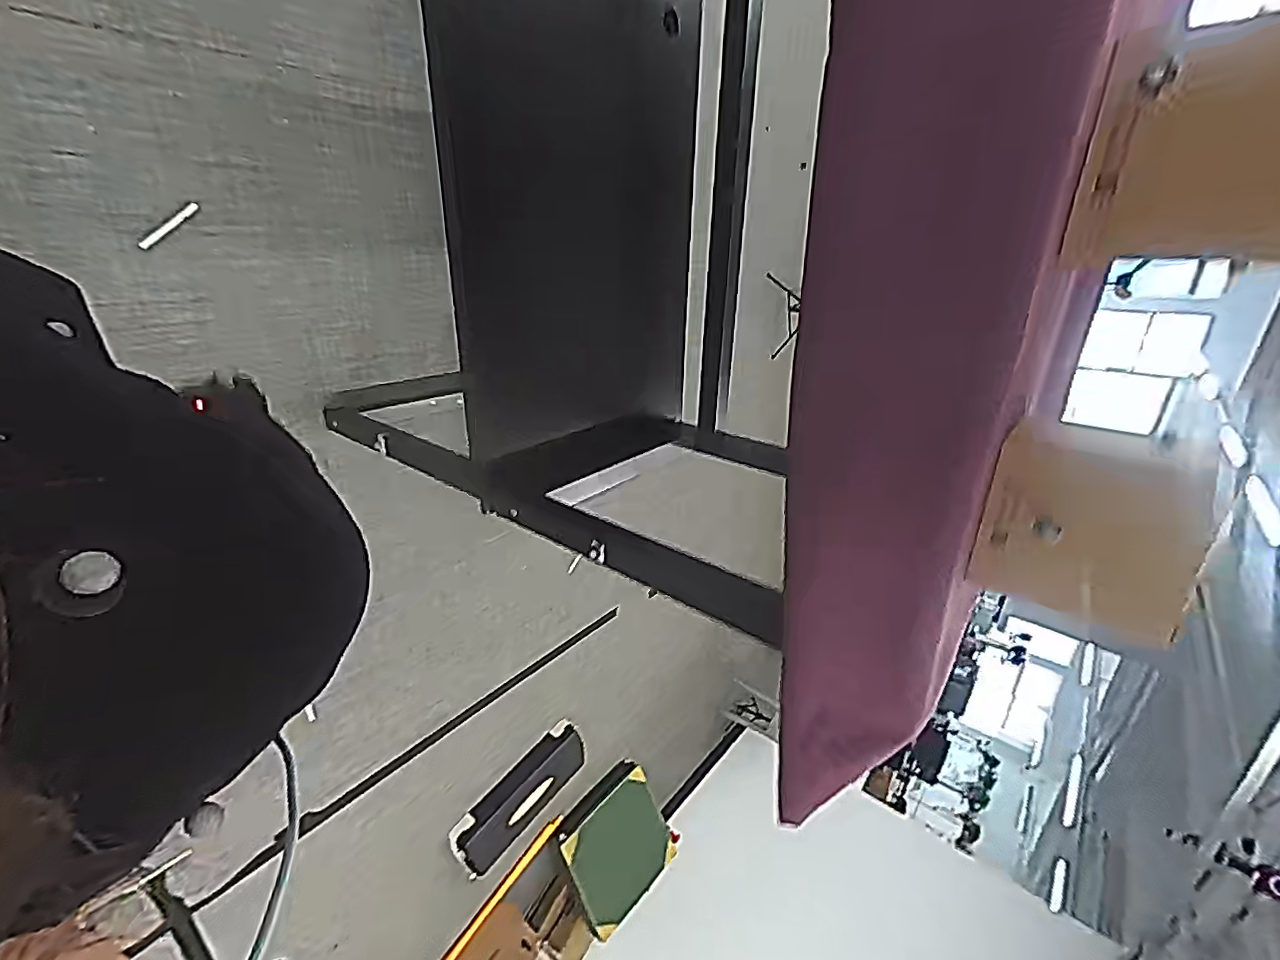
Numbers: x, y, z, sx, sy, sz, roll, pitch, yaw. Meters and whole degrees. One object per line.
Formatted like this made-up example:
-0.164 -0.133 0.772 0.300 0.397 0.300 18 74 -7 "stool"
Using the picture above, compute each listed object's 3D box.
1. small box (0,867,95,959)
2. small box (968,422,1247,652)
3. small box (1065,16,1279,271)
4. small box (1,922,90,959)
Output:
-1.315 0.996 1.156 0.179 0.176 0.168 -22 121 -44 "small box"
0.472 0.041 0.571 0.179 0.176 0.168 -19 119 -47 "small box"
0.486 -0.270 0.457 0.179 0.176 0.168 -30 128 -43 "small box"
-1.195 1.037 1.053 0.179 0.176 0.168 -19 120 -47 "small box"
